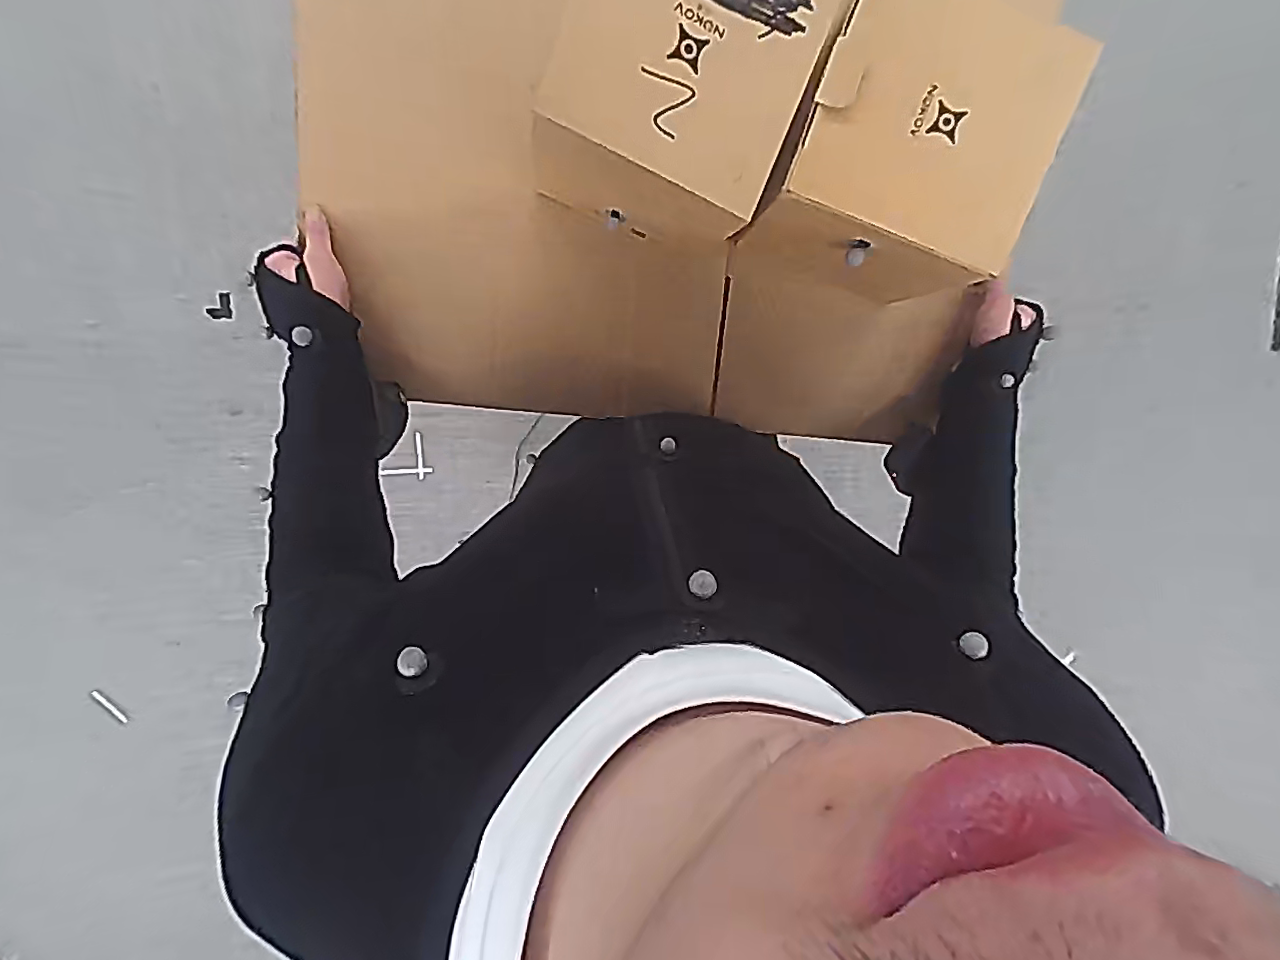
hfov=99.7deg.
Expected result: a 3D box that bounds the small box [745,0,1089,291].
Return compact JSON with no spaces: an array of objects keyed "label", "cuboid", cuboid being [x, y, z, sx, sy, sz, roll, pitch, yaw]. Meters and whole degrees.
[{"label":"small box","cuboid":[0.213,-0.278,0.471,0.179,0.176,0.168,19,100,-4]}]
